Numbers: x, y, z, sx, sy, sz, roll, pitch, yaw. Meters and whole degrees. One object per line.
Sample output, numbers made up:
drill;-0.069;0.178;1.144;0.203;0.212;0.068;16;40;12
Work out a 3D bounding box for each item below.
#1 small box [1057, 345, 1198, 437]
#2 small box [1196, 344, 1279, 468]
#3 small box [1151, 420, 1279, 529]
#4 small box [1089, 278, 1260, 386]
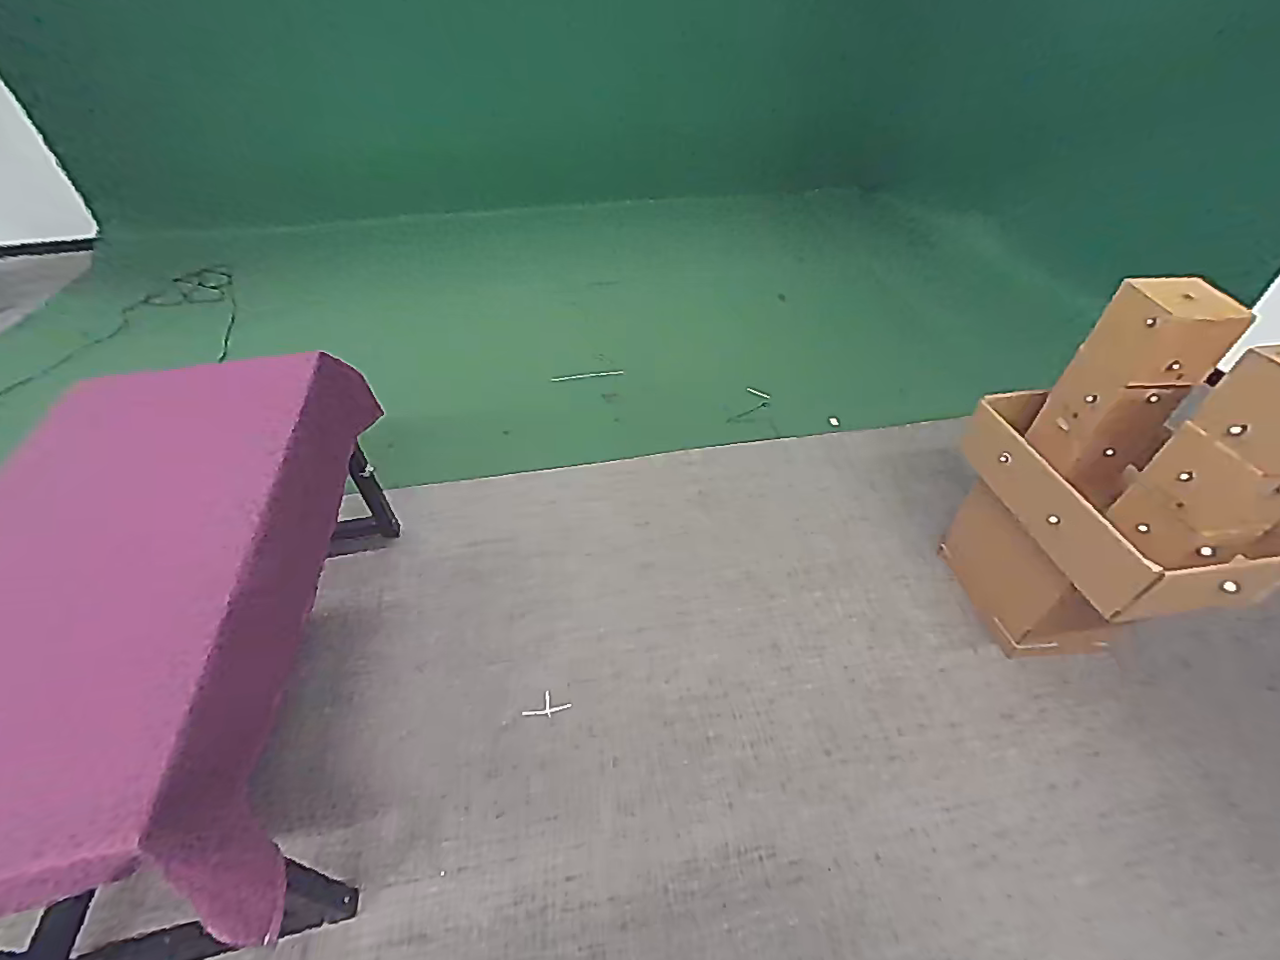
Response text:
small box;1.161;-0.216;1.308;0.179;0.176;0.168;-2;45;-1
small box;1.201;-0.133;0.979;0.168;0.176;0.179;-6;45;-3
small box;1.204;-0.015;1.095;0.179;0.176;0.168;-6;45;-4
small box;1.153;-0.327;1.190;0.168;0.176;0.179;-1;47;1
